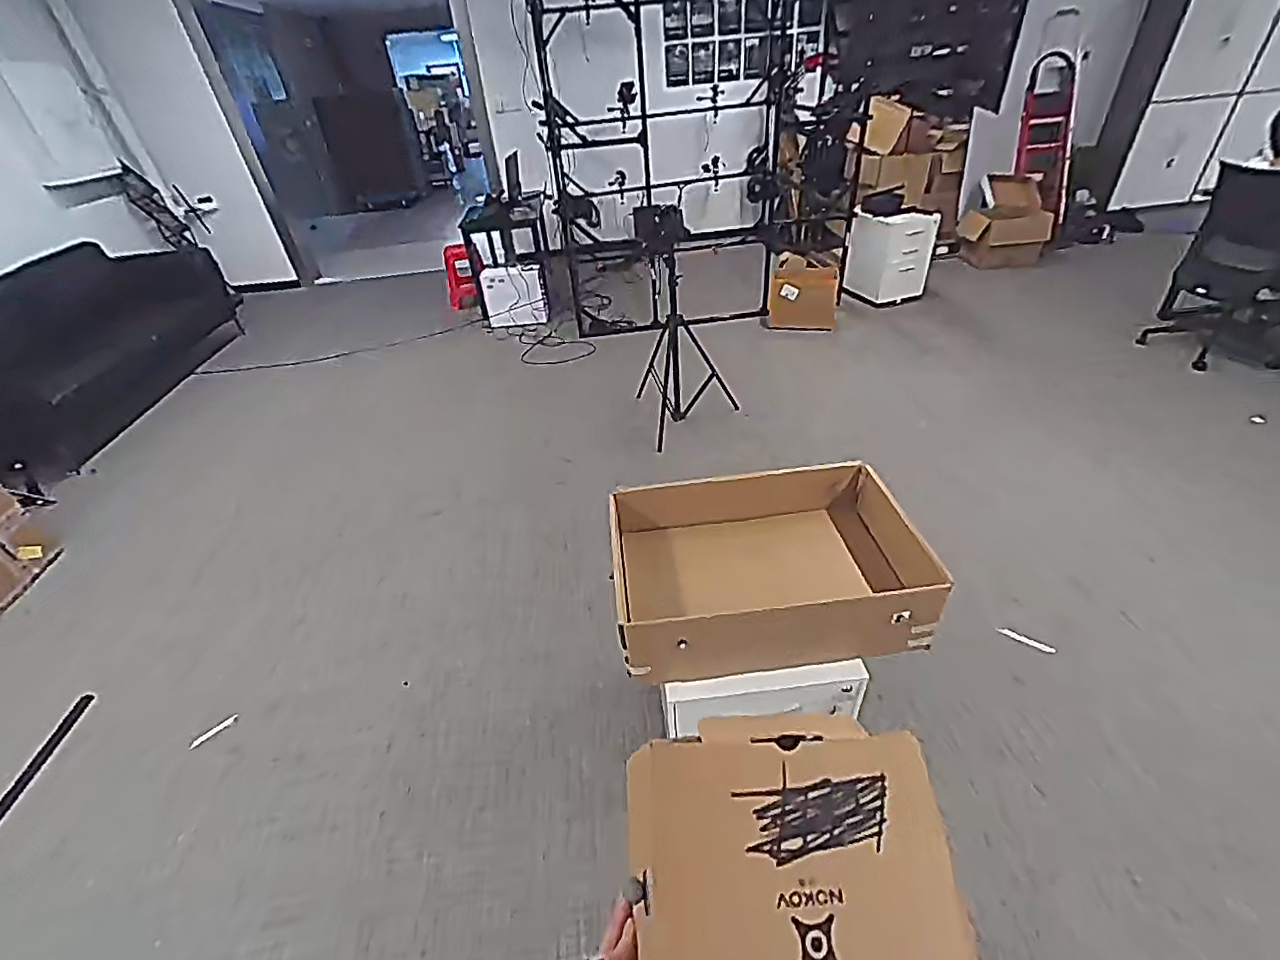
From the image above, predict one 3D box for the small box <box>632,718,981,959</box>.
[{"bbox_3d":[0.084,0.262,0.350,0.168,0.176,0.179,1,59,-5],"label":"small box"}]
